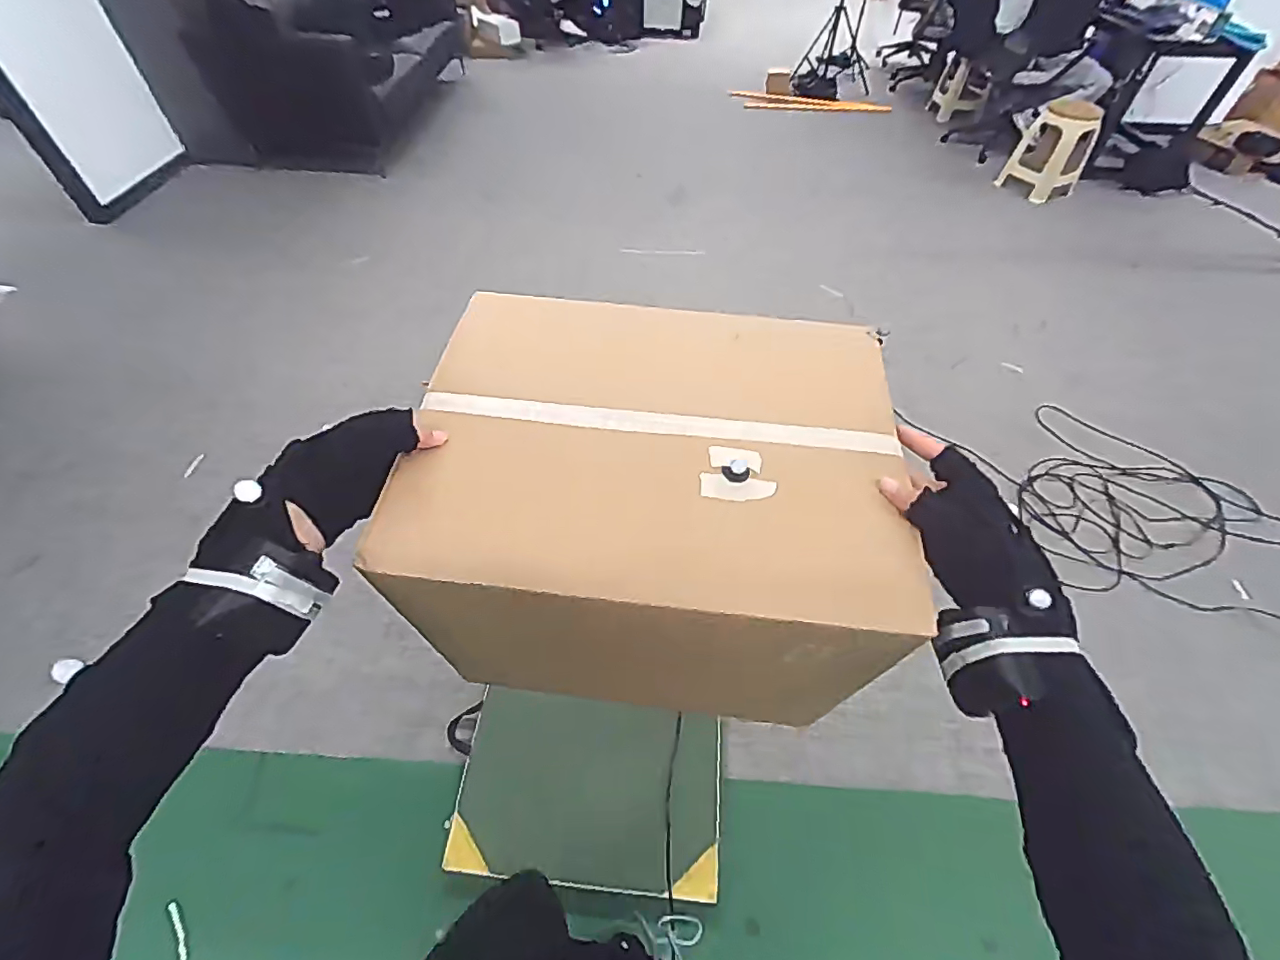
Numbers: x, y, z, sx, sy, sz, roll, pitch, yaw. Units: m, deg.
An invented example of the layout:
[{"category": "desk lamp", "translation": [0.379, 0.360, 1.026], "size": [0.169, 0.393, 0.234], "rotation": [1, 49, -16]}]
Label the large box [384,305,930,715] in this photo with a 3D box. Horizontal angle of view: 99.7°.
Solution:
[{"category": "large box", "translation": [0.017, 0.045, 0.591], "size": [0.408, 0.320, 0.320], "rotation": [6, 56, 2]}]
